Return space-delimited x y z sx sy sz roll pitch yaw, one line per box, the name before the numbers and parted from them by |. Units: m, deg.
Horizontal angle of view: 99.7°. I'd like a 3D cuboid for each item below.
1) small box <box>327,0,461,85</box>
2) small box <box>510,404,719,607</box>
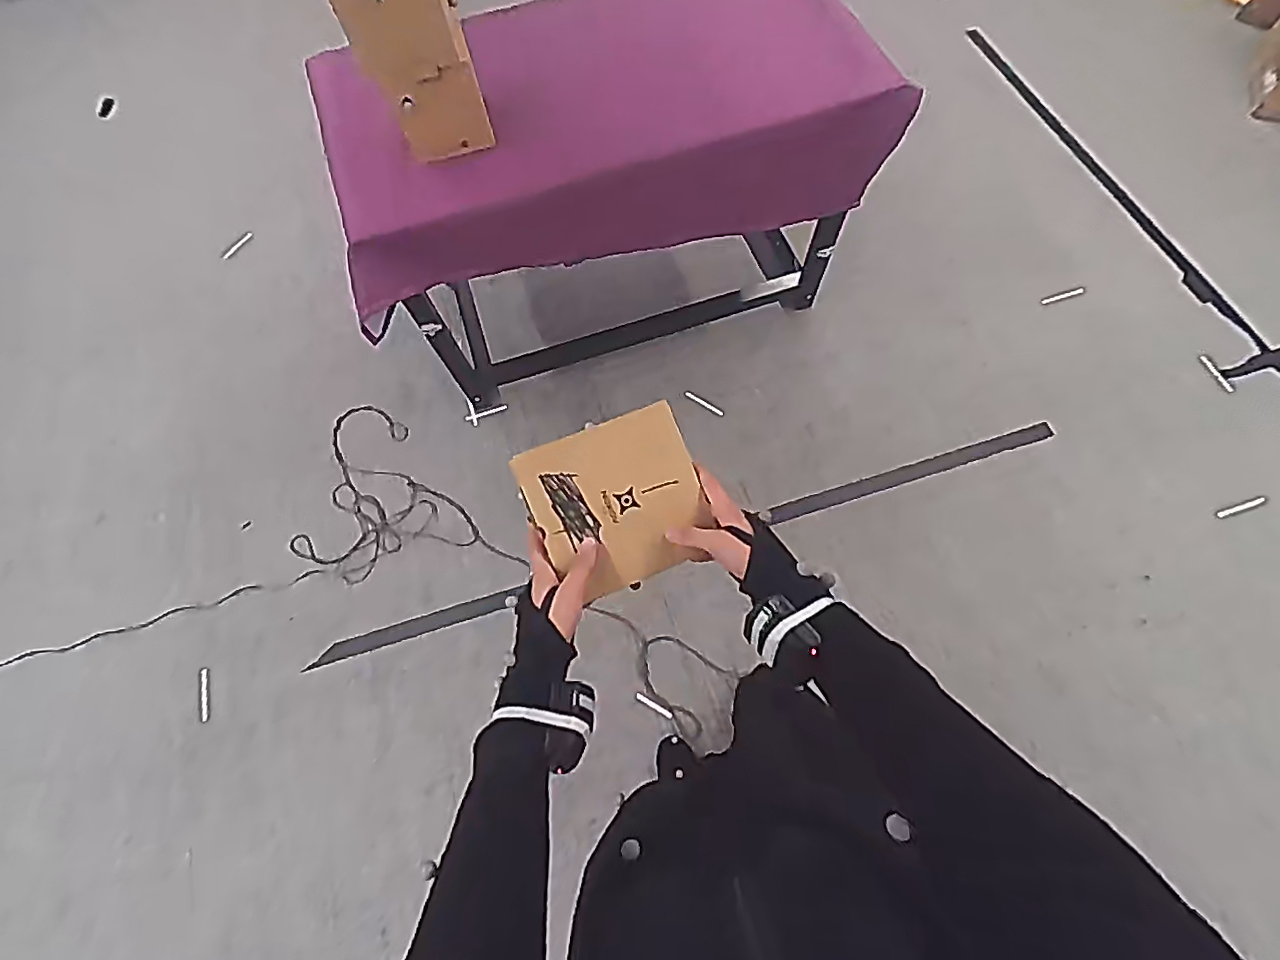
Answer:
small box | -0.429 -0.828 0.939 0.179 0.176 0.168 -11 69 -2
small box | -0.034 0.031 0.635 0.179 0.176 0.168 -22 89 -9
